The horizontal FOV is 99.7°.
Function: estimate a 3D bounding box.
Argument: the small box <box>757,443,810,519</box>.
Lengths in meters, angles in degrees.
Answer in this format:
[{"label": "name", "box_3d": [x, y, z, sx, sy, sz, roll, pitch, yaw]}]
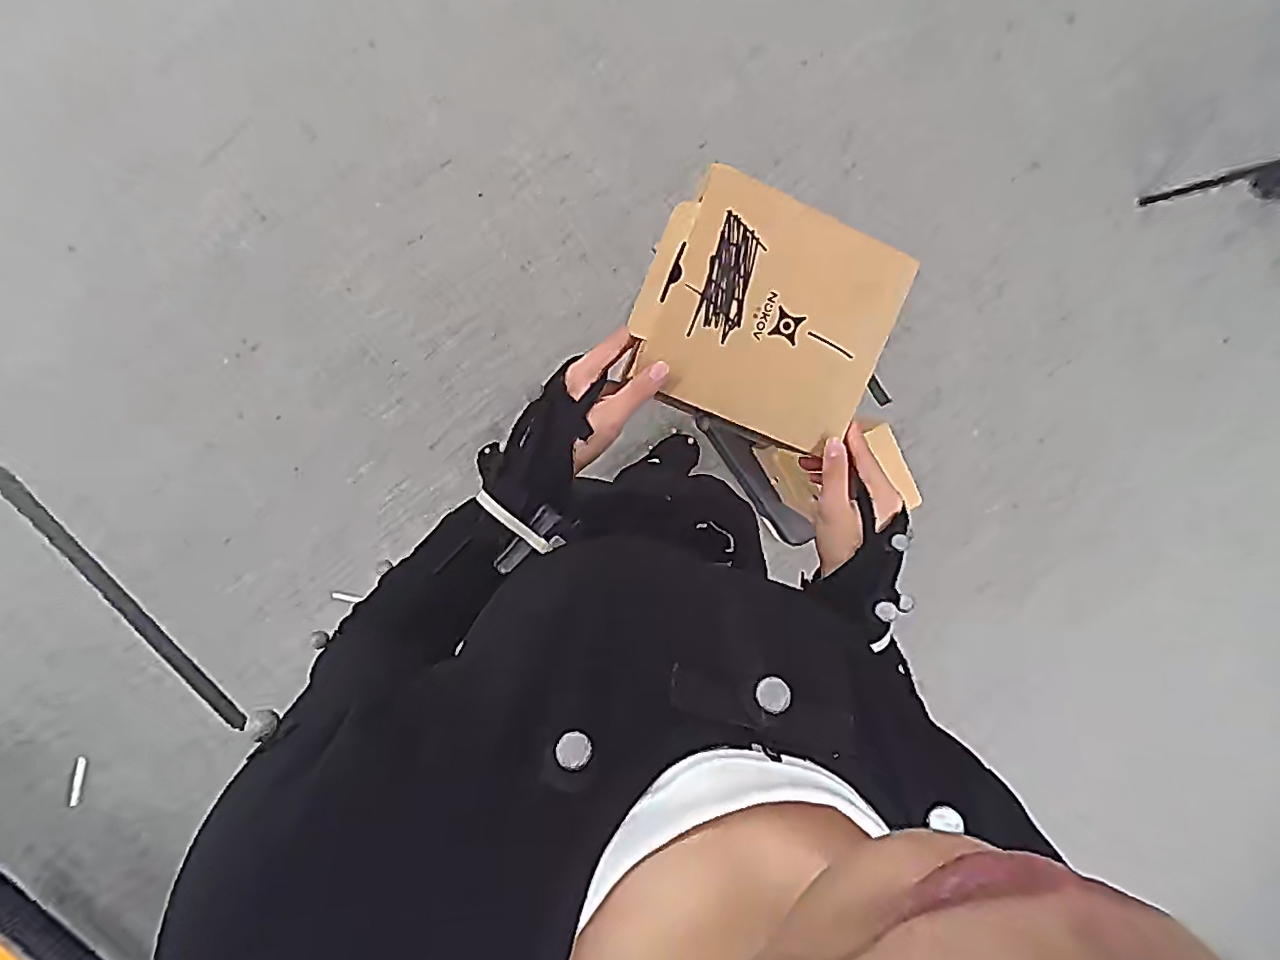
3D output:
[{"label": "small box", "box_3d": [0.384, -0.037, 1.222, 0.179, 0.176, 0.168, -32, 100, 1]}]

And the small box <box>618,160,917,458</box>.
[{"label": "small box", "box_3d": [0.089, -0.131, 0.475, 0.179, 0.176, 0.168, 21, 97, -10]}]

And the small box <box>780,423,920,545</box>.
[{"label": "small box", "box_3d": [0.403, -0.003, 1.063, 0.168, 0.176, 0.179, -29, 99, 1]}]
